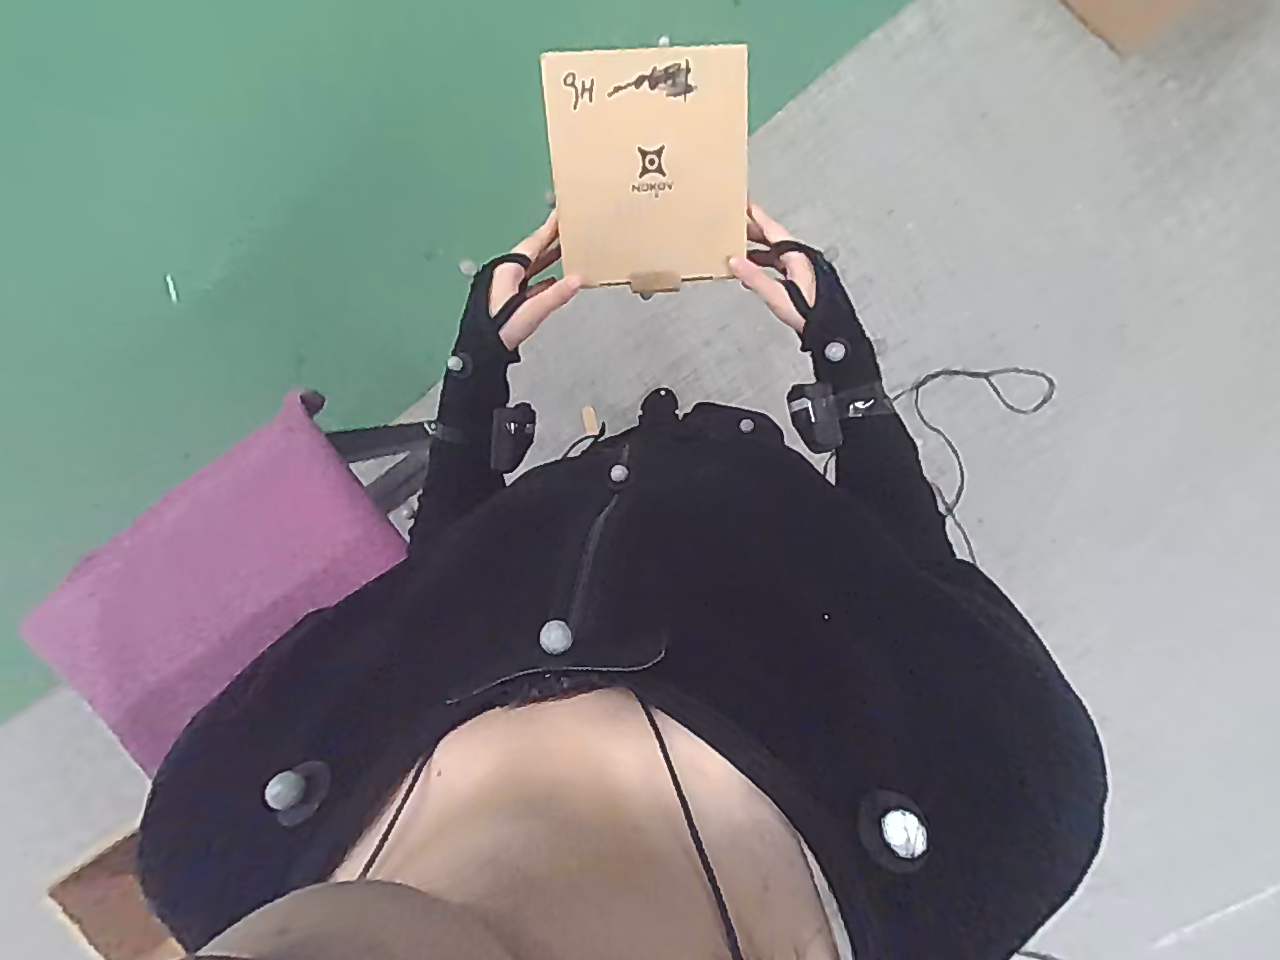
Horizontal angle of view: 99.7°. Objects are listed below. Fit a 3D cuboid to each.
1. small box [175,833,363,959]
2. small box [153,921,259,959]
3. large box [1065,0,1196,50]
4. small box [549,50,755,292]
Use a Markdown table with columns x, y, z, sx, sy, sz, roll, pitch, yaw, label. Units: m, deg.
| x | y | z | sx | sy | sz | roll | pitch | yaw | label |
| --- | --- | --- | --- | --- | --- | --- | --- | --- | --- |
| -0.553 | 0.682 | 0.810 | 0.179 | 0.176 | 0.168 | -33 | 94 | 8 | small box |
| -0.568 | 0.698 | 0.650 | 0.168 | 0.176 | 0.179 | -36 | 93 | 8 | small box |
| 1.044 | -1.191 | 1.062 | 0.408 | 0.320 | 0.320 | 41 | 100 | 0 | large box |
| 0.007 | -0.284 | 0.527 | 0.168 | 0.176 | 0.179 | -4 | 112 | -3 | small box |
